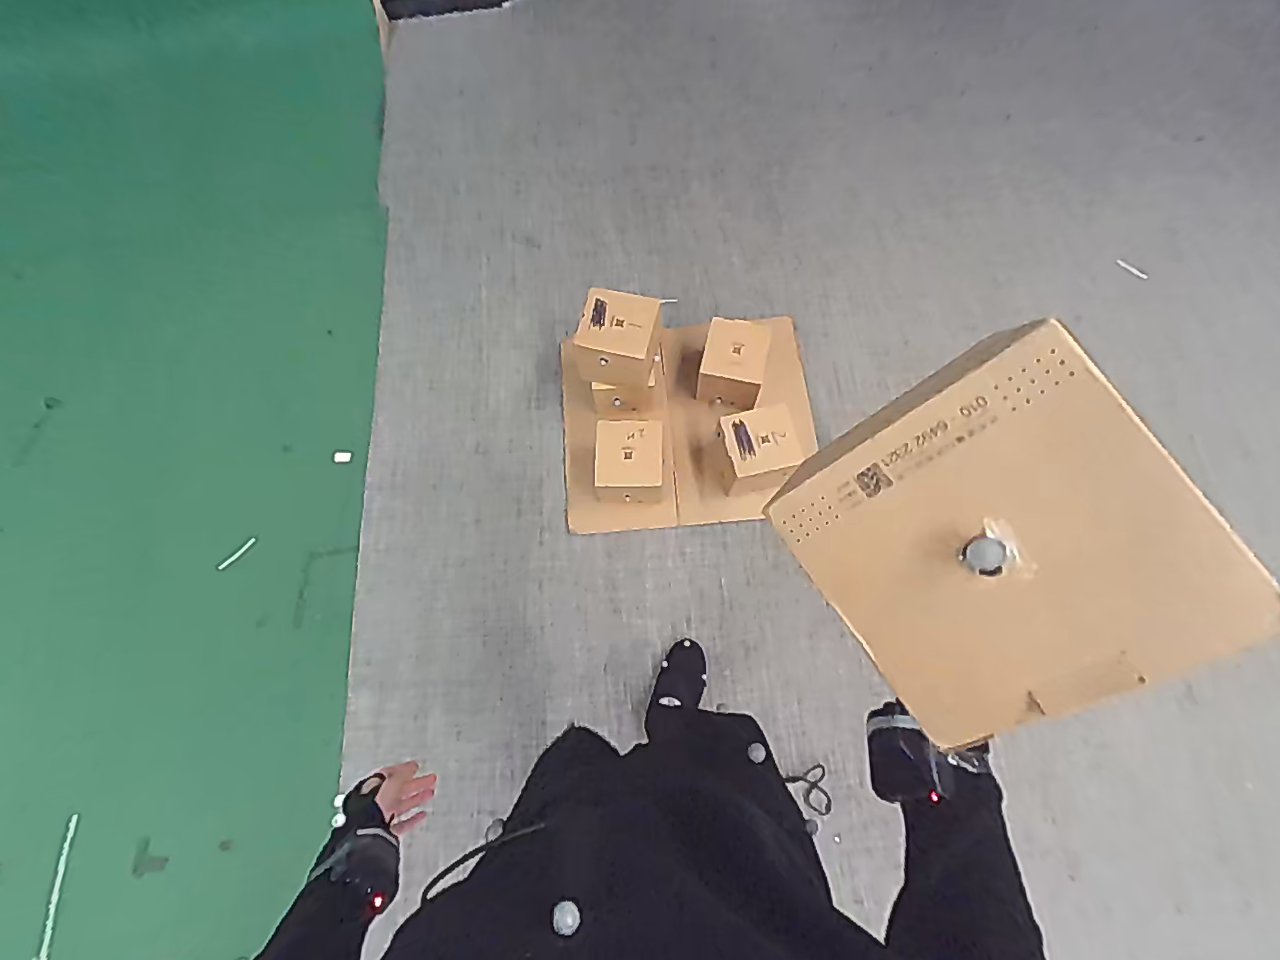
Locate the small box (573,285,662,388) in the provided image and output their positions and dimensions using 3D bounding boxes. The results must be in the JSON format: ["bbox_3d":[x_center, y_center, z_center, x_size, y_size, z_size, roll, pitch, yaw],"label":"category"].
[{"bbox_3d":[-0.050,-0.347,1.329,0.179,0.176,0.168,14,73,6],"label":"small box"}]

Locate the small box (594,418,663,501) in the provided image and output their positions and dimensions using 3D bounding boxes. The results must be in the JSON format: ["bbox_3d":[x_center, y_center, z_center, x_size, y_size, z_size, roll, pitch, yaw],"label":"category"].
[{"bbox_3d":[-0.025,-0.049,1.403,0.168,0.176,0.179,1,72,2],"label":"small box"}]

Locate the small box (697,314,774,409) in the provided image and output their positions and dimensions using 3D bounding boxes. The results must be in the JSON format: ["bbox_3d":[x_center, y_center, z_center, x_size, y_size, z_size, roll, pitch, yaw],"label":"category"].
[{"bbox_3d":[0.255,-0.318,1.475,0.168,0.176,0.179,13,73,7],"label":"small box"}]

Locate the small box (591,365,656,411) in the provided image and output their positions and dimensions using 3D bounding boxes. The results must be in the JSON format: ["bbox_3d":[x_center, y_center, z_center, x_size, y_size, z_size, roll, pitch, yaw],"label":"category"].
[{"bbox_3d":[-0.043,-0.299,1.487,0.168,0.176,0.179,-3,71,1],"label":"small box"}]
